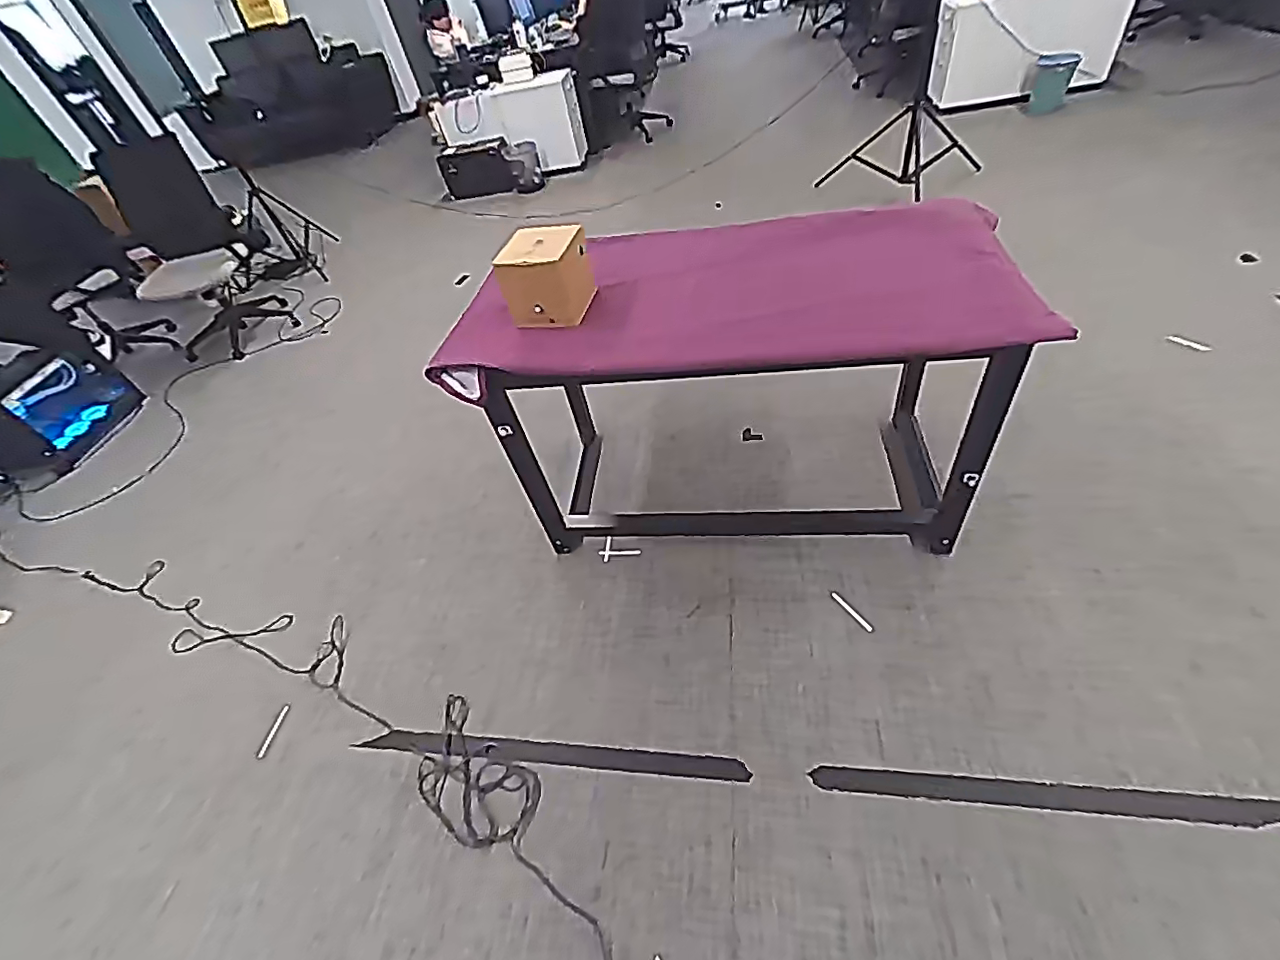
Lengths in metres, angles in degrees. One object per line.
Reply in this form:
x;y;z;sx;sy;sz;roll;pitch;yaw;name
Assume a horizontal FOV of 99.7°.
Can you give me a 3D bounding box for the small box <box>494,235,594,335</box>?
-0.221;-0.471;1.310;0.168;0.176;0.179;3;49;16;small box
